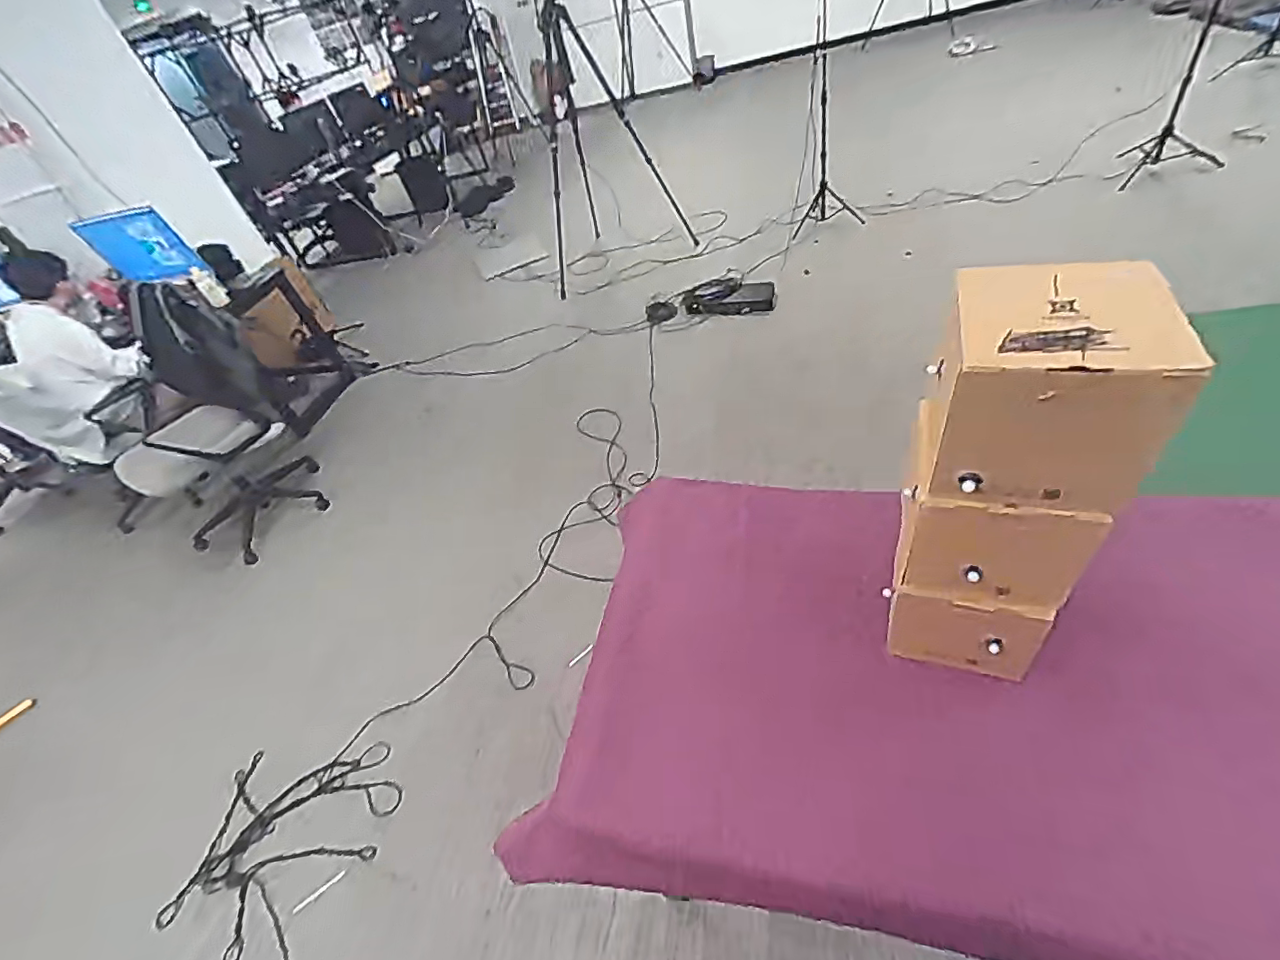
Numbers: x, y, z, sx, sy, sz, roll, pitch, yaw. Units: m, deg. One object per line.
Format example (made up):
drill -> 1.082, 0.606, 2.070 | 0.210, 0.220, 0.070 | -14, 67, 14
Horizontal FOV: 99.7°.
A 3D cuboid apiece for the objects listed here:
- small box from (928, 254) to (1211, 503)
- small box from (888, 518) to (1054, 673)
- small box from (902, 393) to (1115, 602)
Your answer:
small box -> 0.390, -0.098, 0.532 | 0.168, 0.176, 0.179 | 7, 49, 22
small box -> 0.447, 0.139, 0.749 | 0.168, 0.176, 0.179 | 8, 49, 24
small box -> 0.415, 0.019, 0.644 | 0.168, 0.176, 0.179 | 6, 50, 21
